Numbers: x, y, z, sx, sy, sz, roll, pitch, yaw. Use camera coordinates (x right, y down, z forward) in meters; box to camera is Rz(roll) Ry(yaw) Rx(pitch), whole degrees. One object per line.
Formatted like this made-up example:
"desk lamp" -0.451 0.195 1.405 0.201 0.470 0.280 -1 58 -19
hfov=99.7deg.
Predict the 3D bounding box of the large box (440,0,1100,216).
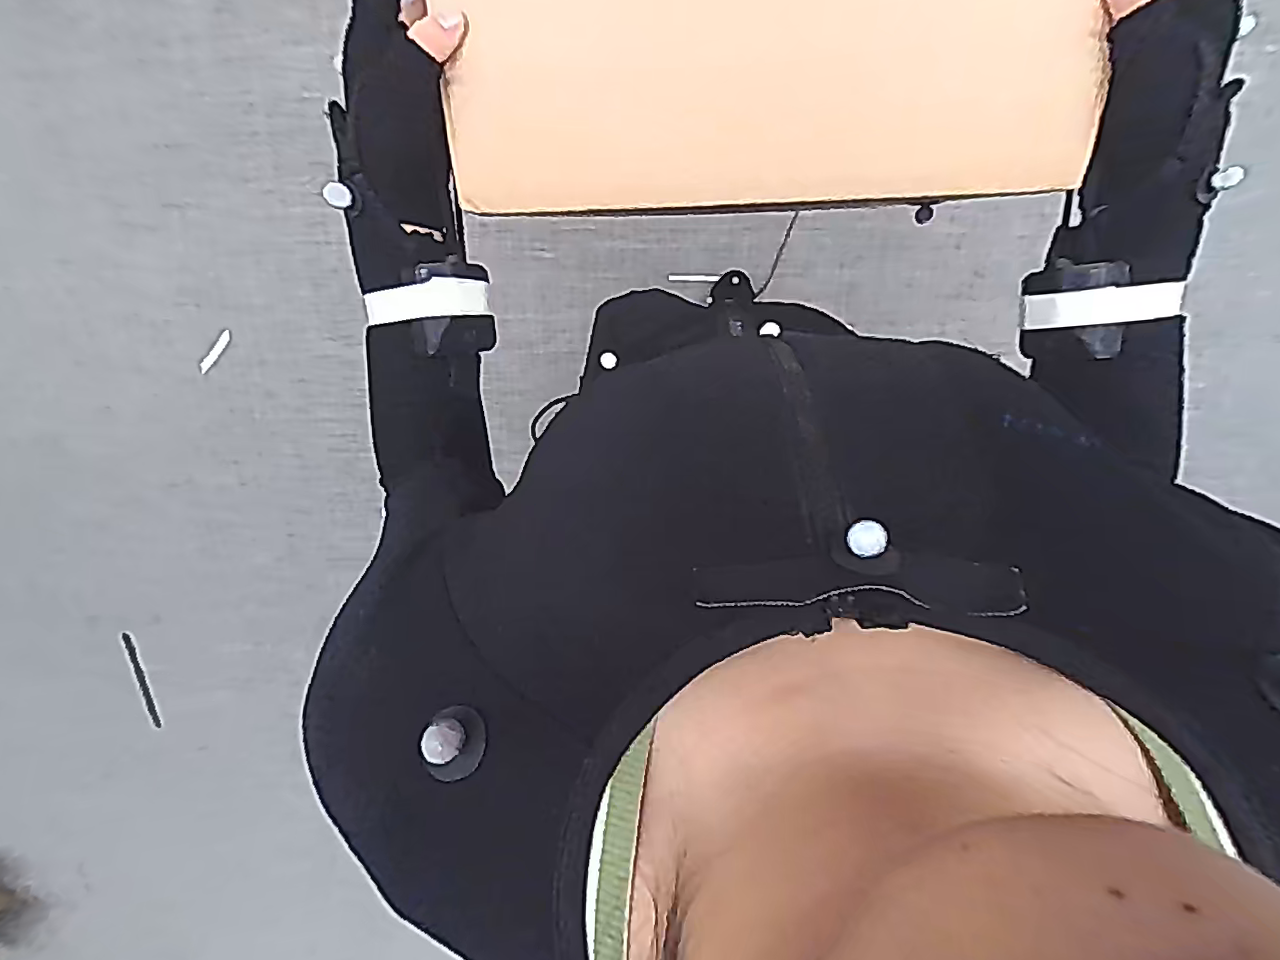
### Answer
"large box" 0.081 -0.397 0.438 0.408 0.320 0.320 -1 115 3
